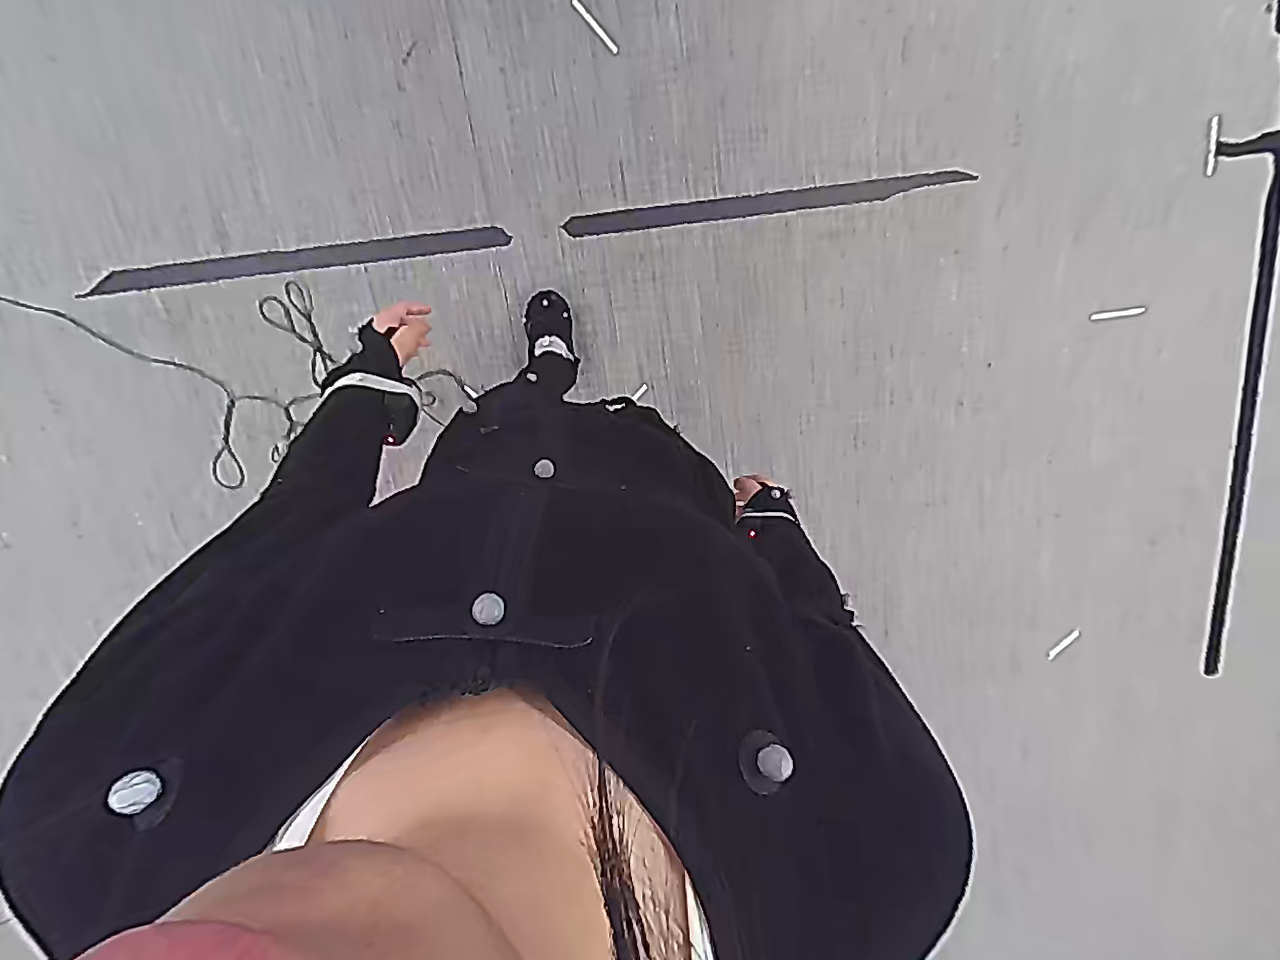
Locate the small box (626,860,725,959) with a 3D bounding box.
[{"bbox_3d":[0.063,0.856,1.022,0.168,0.176,0.179,-5,104,-3],"label":"small box"}]
